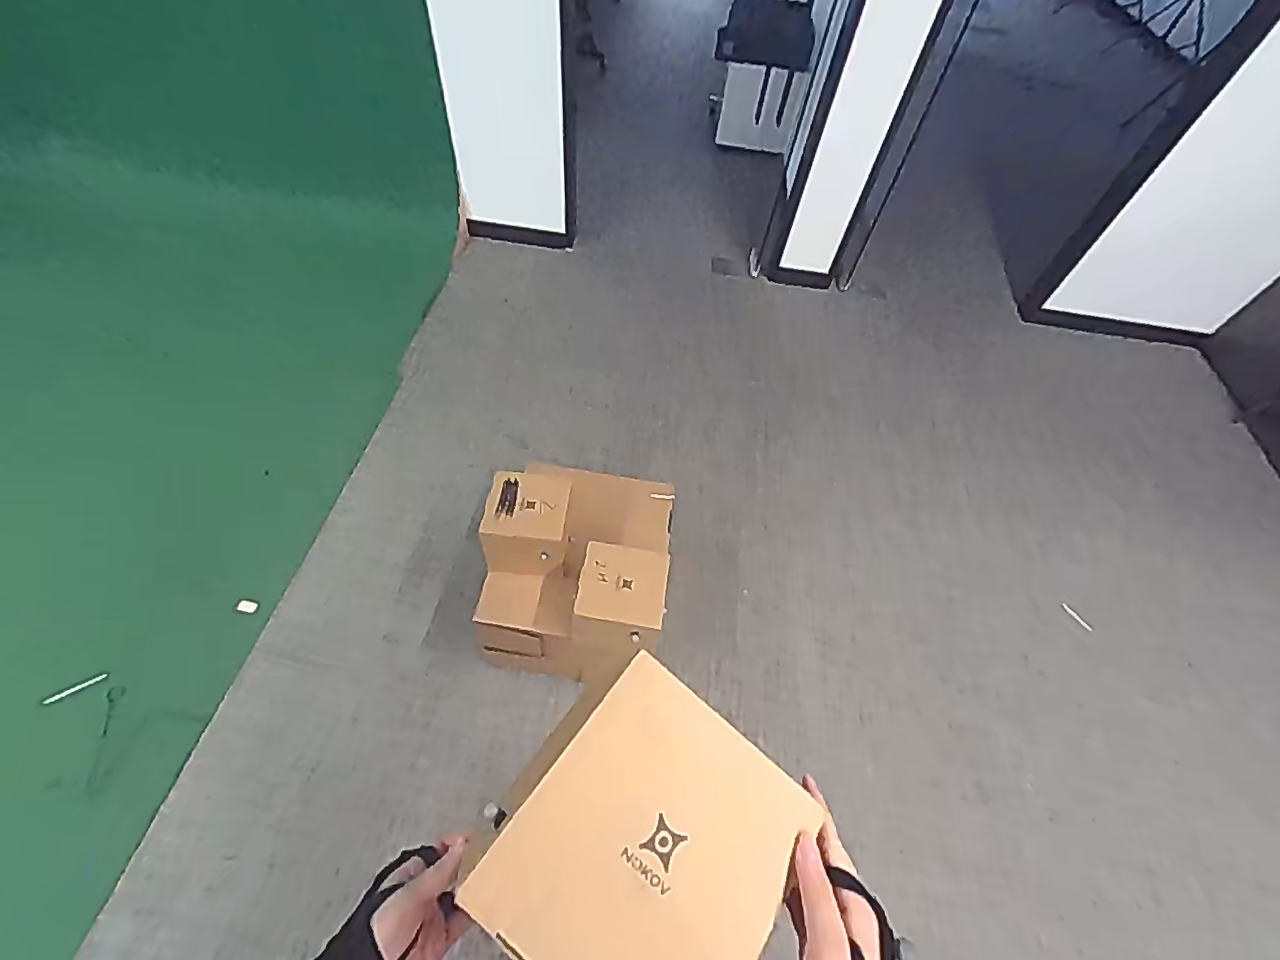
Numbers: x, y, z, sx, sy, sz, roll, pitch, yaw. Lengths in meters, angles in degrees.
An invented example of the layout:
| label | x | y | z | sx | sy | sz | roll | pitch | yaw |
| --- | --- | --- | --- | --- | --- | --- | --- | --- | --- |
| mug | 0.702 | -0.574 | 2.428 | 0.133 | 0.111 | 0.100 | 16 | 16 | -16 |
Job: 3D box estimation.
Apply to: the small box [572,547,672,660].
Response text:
| label | x | y | z | sx | sy | sz | roll | pitch | yaw |
| --- | --- | --- | --- | --- | --- | --- | --- | --- | --- |
| small box | -0.040 | 0.264 | 1.136 | 0.179 | 0.176 | 0.168 | 11 | 53 | 0 |
